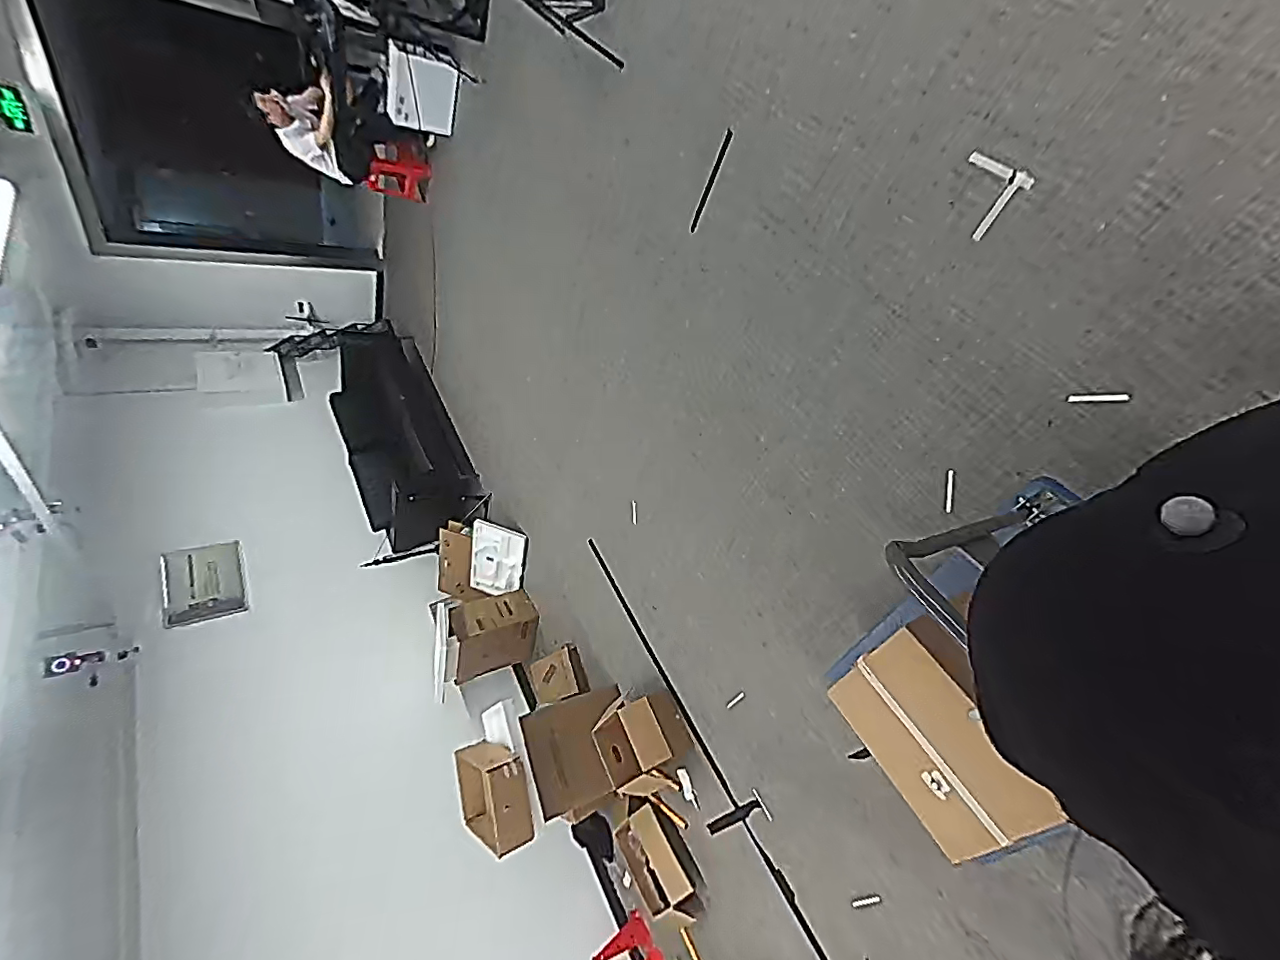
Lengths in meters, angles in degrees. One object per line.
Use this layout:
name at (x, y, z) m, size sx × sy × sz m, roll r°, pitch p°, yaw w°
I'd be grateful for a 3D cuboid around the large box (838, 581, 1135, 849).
large box at (0.749, 0.501, 1.212) m, size 0.408 × 0.320 × 0.320 m, roll 54°, pitch 139°, yaw 31°
